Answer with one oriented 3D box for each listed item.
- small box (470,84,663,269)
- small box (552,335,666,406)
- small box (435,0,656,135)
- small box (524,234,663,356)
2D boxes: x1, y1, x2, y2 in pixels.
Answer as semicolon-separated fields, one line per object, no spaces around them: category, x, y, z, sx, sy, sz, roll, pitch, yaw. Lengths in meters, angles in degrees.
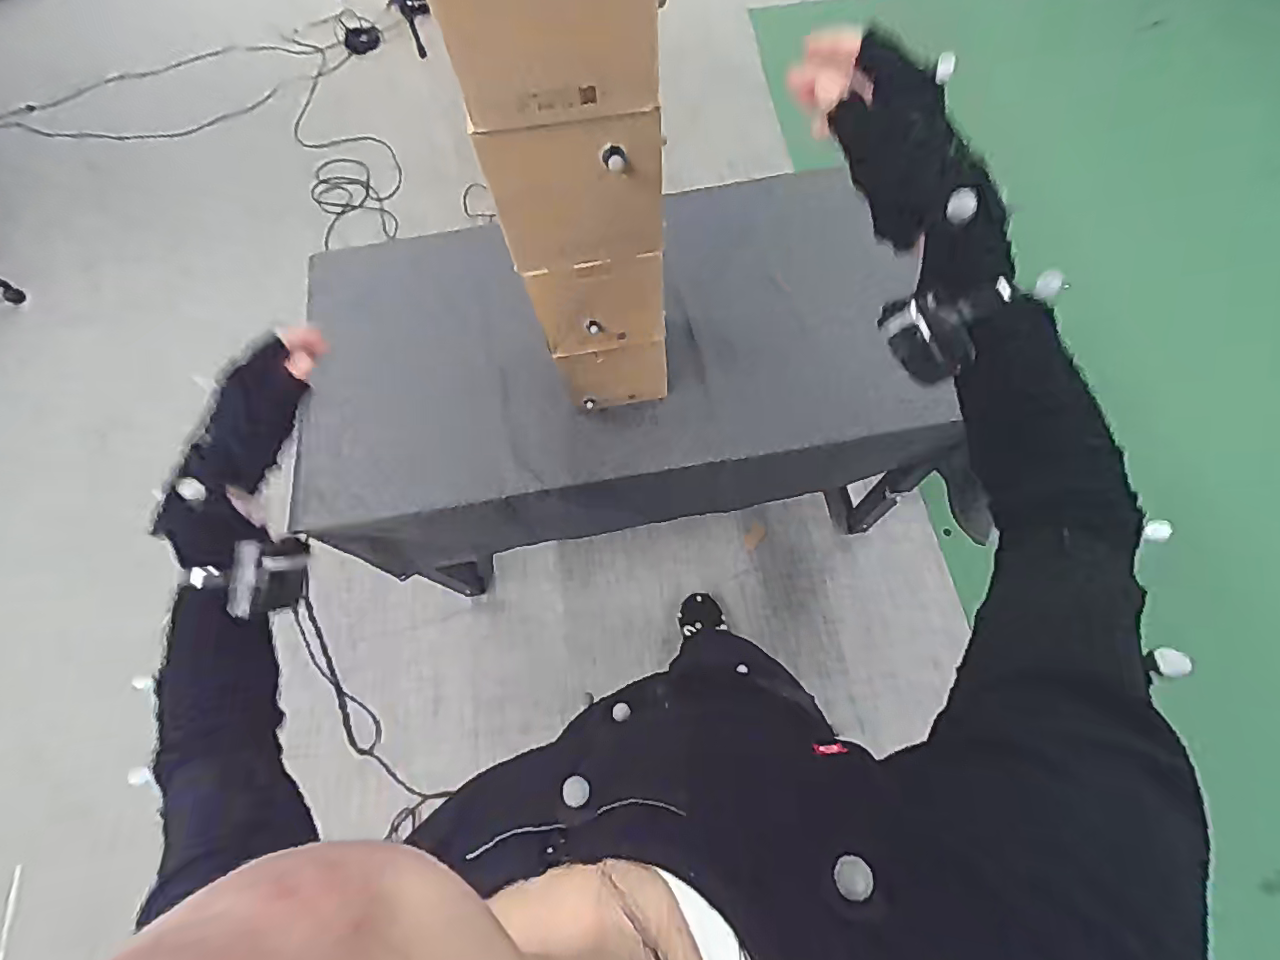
small box;-0.071;-0.358;0.587;0.179;0.176;0.168;-8;67;1
small box;-0.051;-0.236;0.889;0.168;0.176;0.179;-10;66;0
small box;-0.078;-0.420;0.436;0.168;0.176;0.179;-7;67;1
small box;-0.062;-0.298;0.739;0.168;0.176;0.179;-9;68;0
